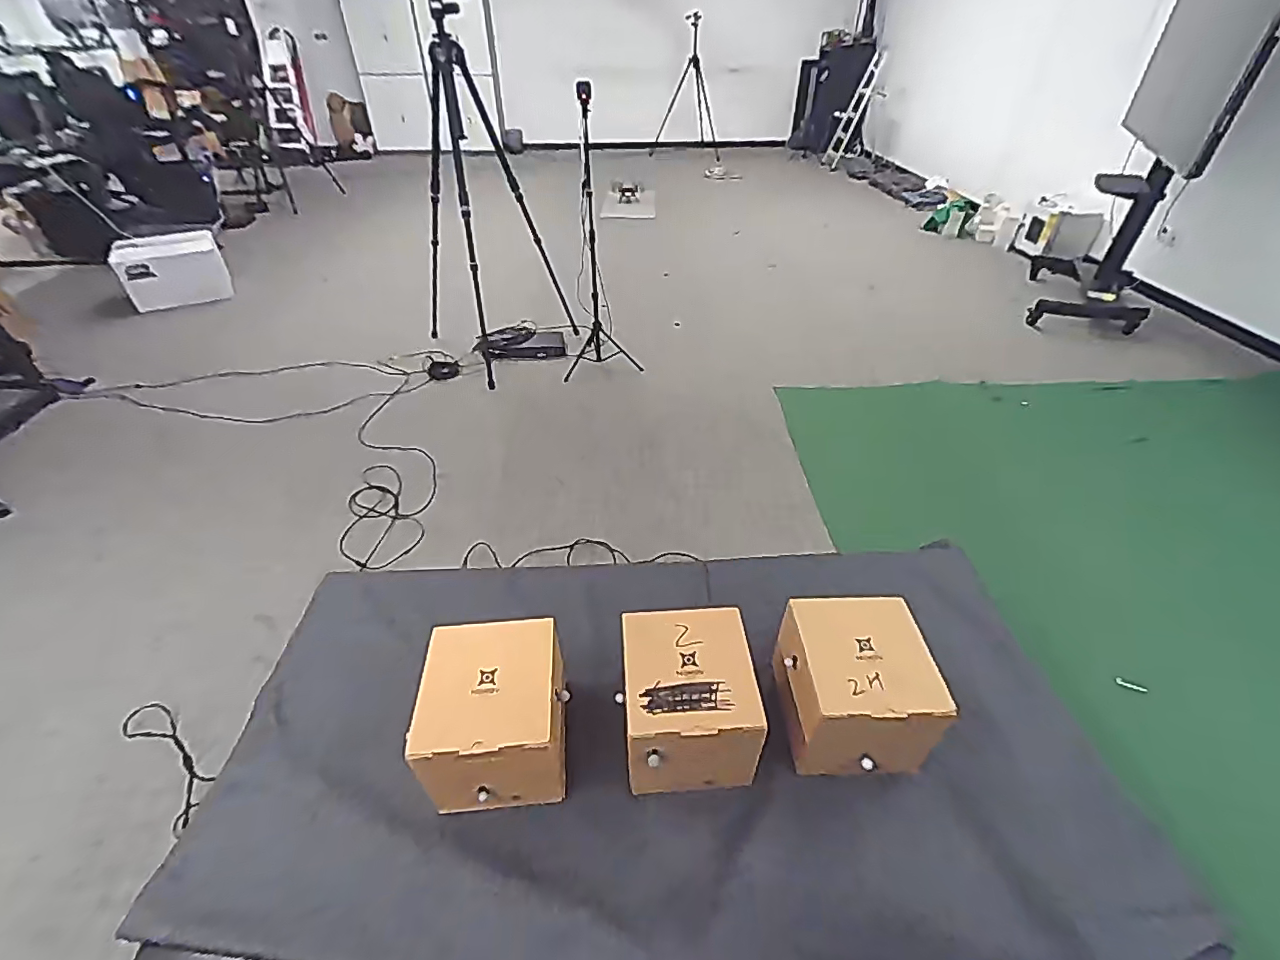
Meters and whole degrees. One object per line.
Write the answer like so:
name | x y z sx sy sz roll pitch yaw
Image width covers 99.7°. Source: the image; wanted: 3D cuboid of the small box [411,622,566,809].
small box | -0.191 0.319 0.740 0.168 0.176 0.179 -3 41 -4
